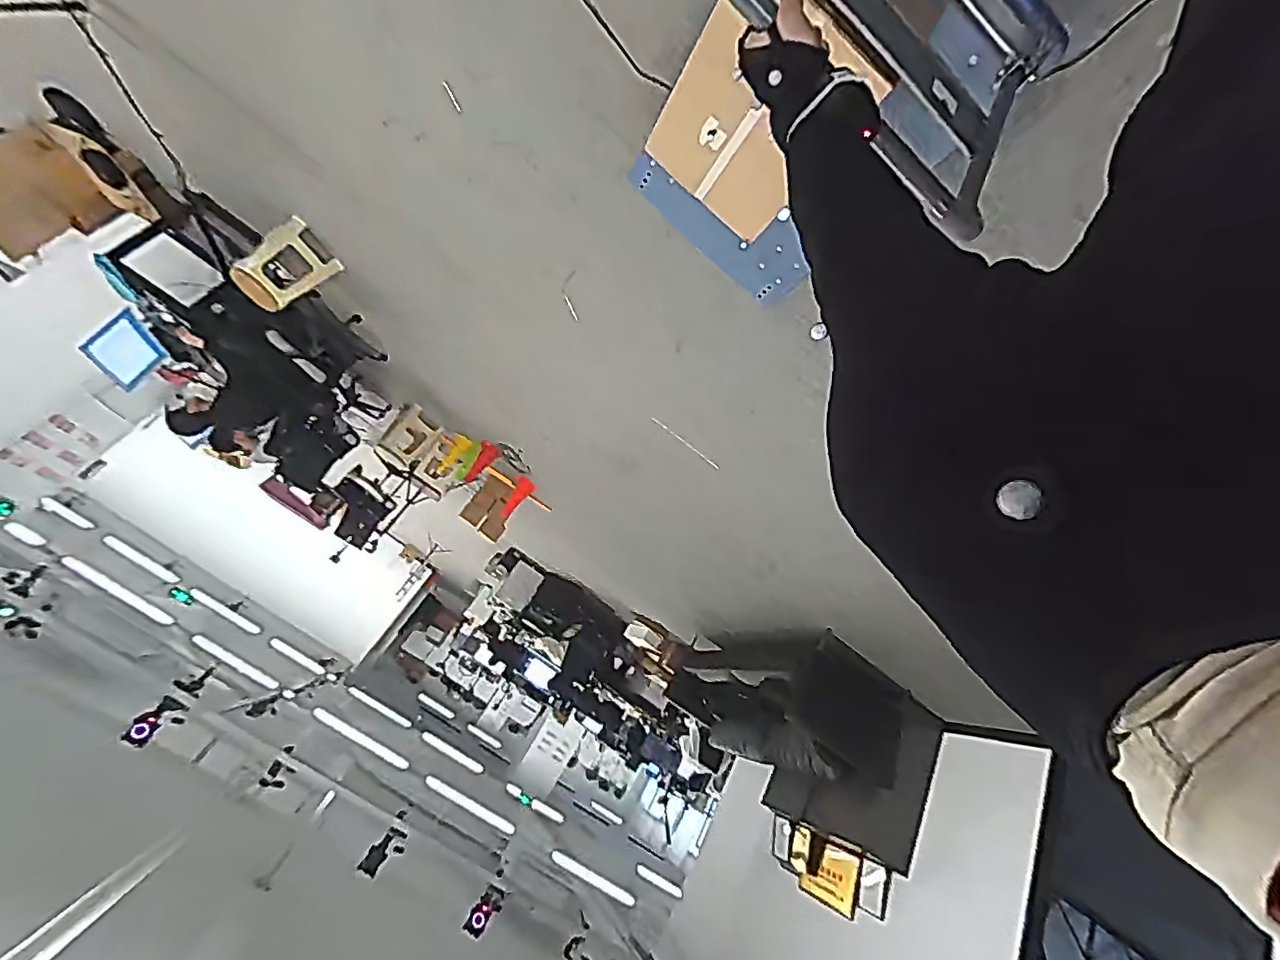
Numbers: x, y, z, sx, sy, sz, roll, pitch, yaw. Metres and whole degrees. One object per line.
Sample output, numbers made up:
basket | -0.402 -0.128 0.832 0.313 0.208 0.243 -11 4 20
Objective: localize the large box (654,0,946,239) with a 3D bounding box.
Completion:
large box | 0.295 -0.788 1.061 0.320 0.320 0.408 38 154 -10
